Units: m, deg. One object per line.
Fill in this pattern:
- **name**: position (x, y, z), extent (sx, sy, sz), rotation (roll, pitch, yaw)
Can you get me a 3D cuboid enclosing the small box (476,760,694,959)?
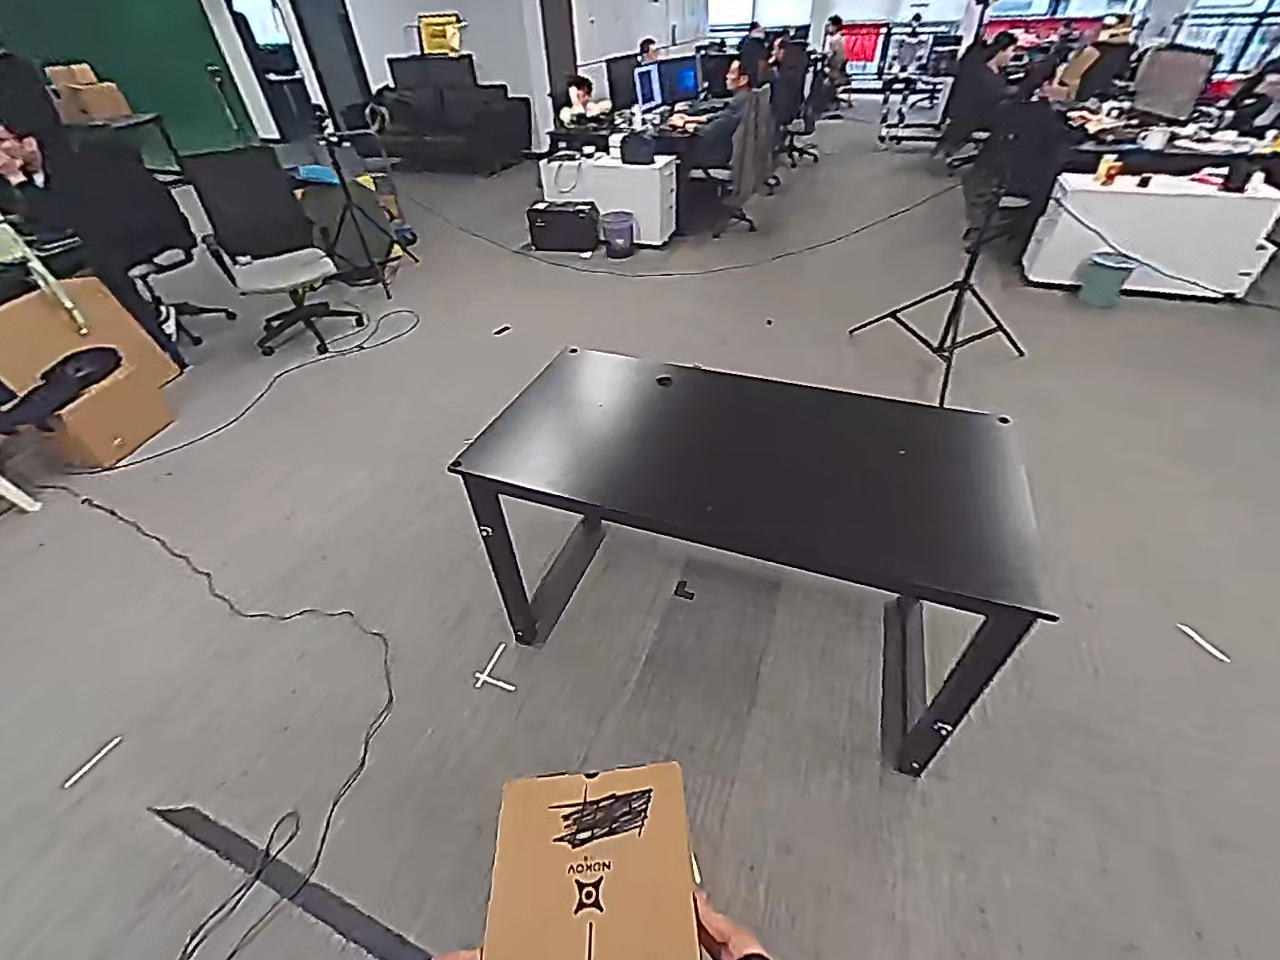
- **small box**: position (-0.039, 0.389, 0.495), extent (0.168, 0.176, 0.179), rotation (-7, 40, 1)
